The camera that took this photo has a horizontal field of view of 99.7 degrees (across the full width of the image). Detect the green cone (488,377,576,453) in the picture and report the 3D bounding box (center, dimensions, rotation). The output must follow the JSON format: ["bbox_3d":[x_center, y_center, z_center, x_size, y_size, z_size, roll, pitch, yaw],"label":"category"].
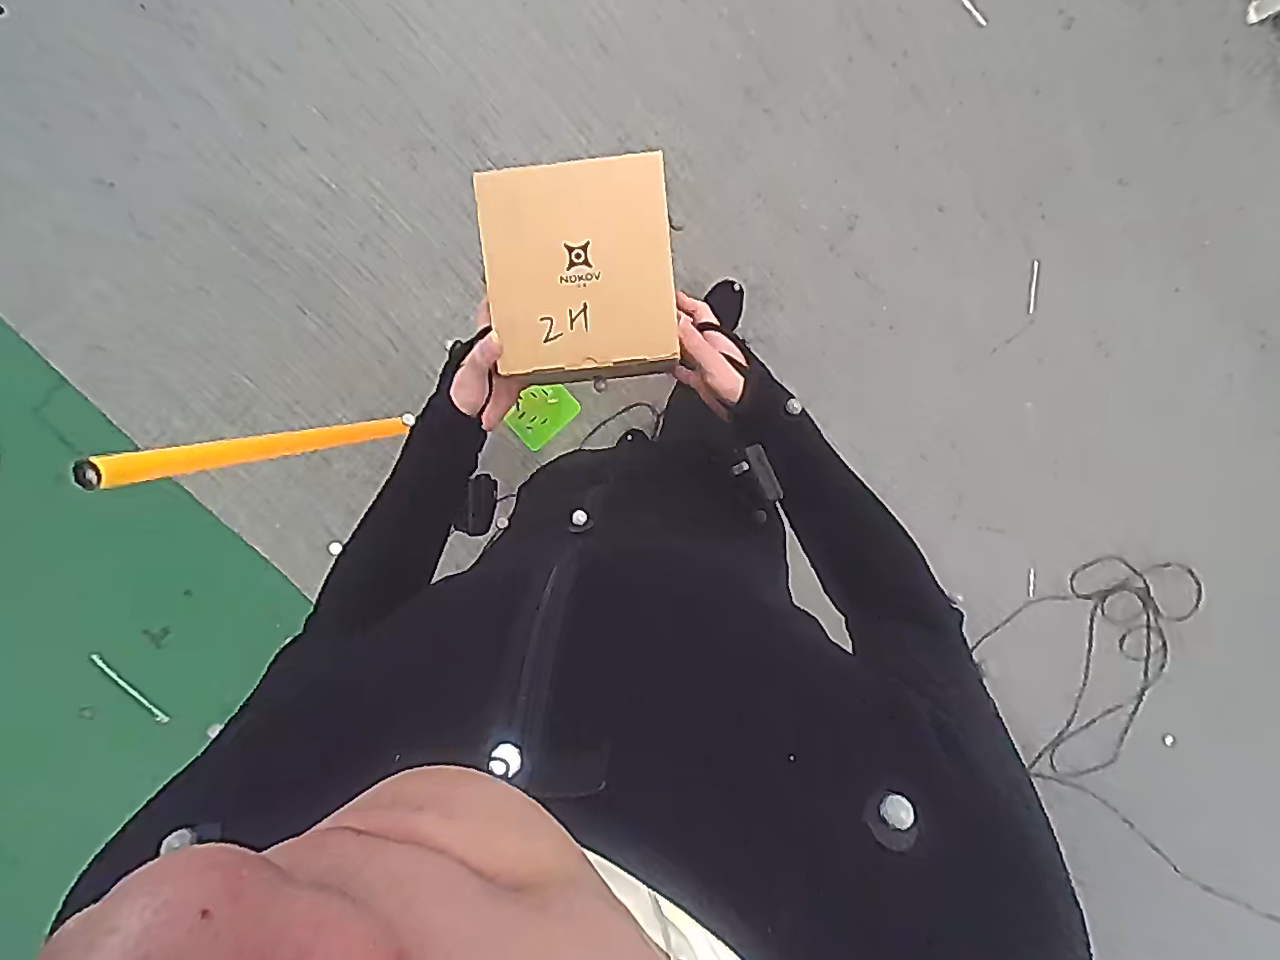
[{"bbox_3d":[-0.316,-0.179,1.421,0.200,0.368,0.202,-42,98,7],"label":"green cone"}]

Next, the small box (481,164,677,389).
[{"bbox_3d":[-0.053,-0.194,0.564,0.168,0.176,0.179,-5,97,2],"label":"small box"}]
